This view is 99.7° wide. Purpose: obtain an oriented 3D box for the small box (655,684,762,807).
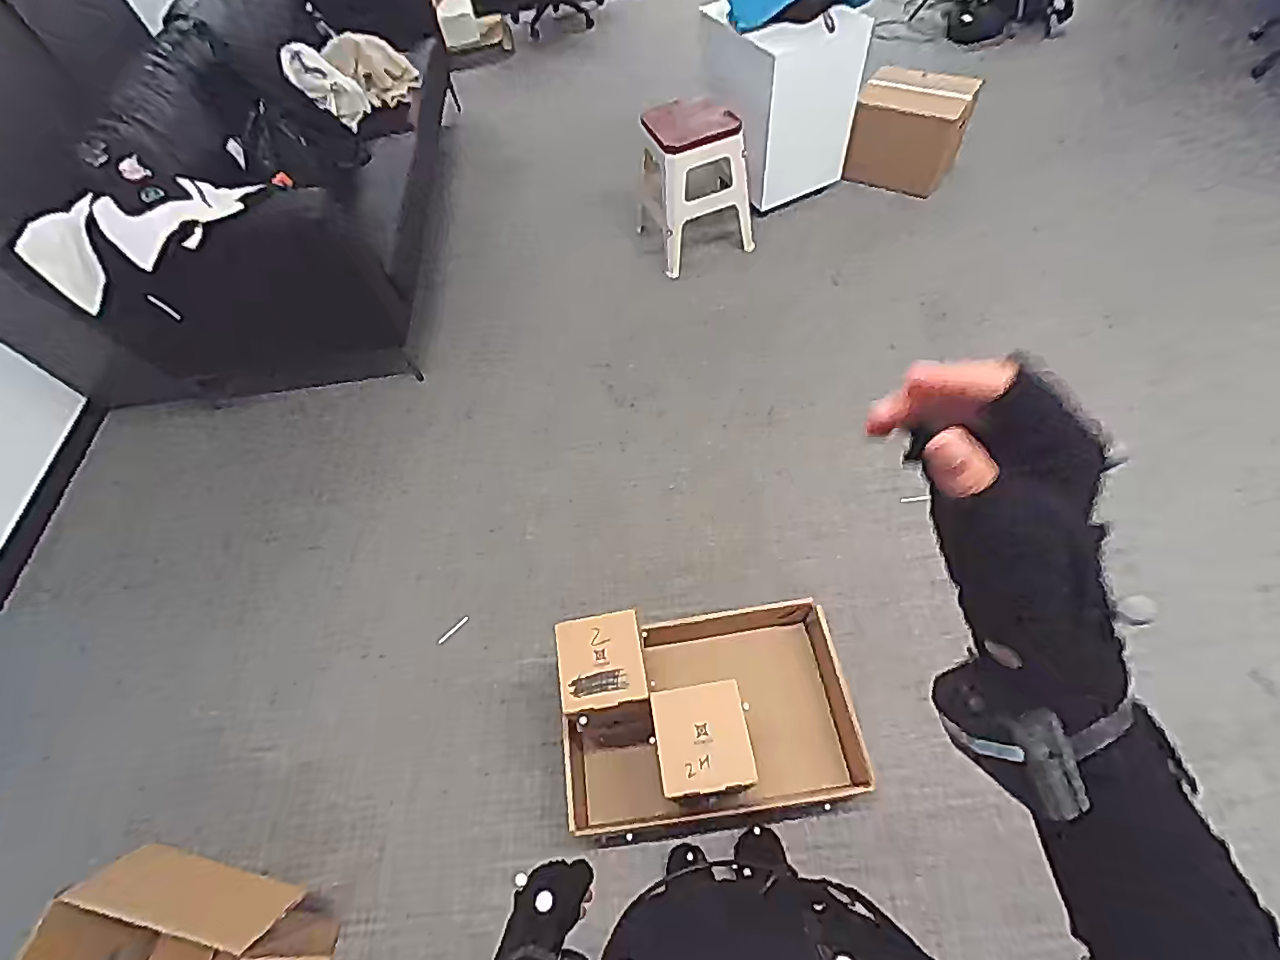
[{"bbox_3d":[0.123,0.505,1.023,0.168,0.176,0.179,-10,58,0],"label":"small box"}]
